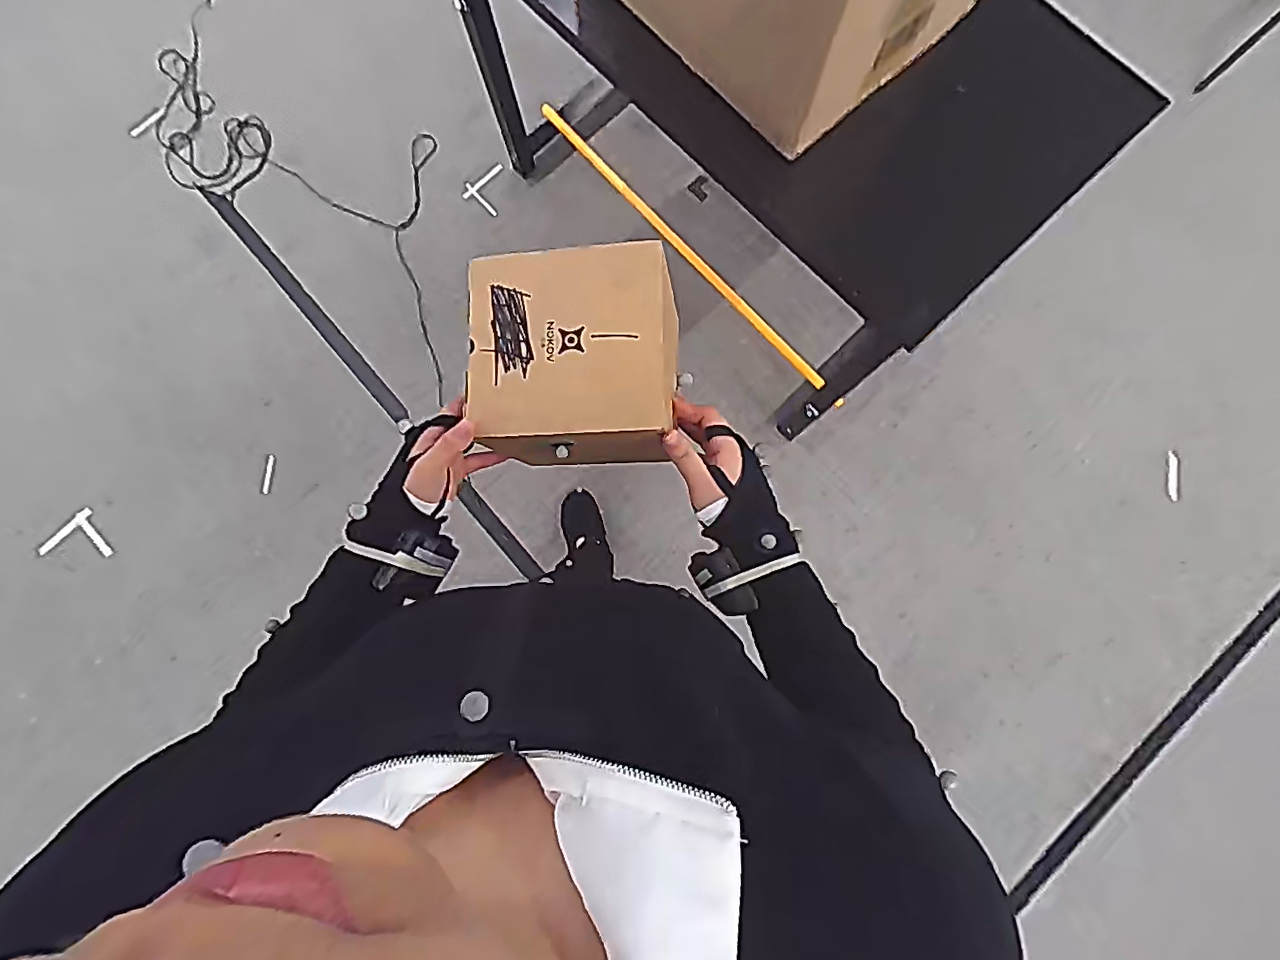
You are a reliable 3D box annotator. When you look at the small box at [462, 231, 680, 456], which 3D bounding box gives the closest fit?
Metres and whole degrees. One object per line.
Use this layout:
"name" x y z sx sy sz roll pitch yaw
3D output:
"small box" -0.055 -0.118 0.536 0.179 0.176 0.168 -1 83 8
